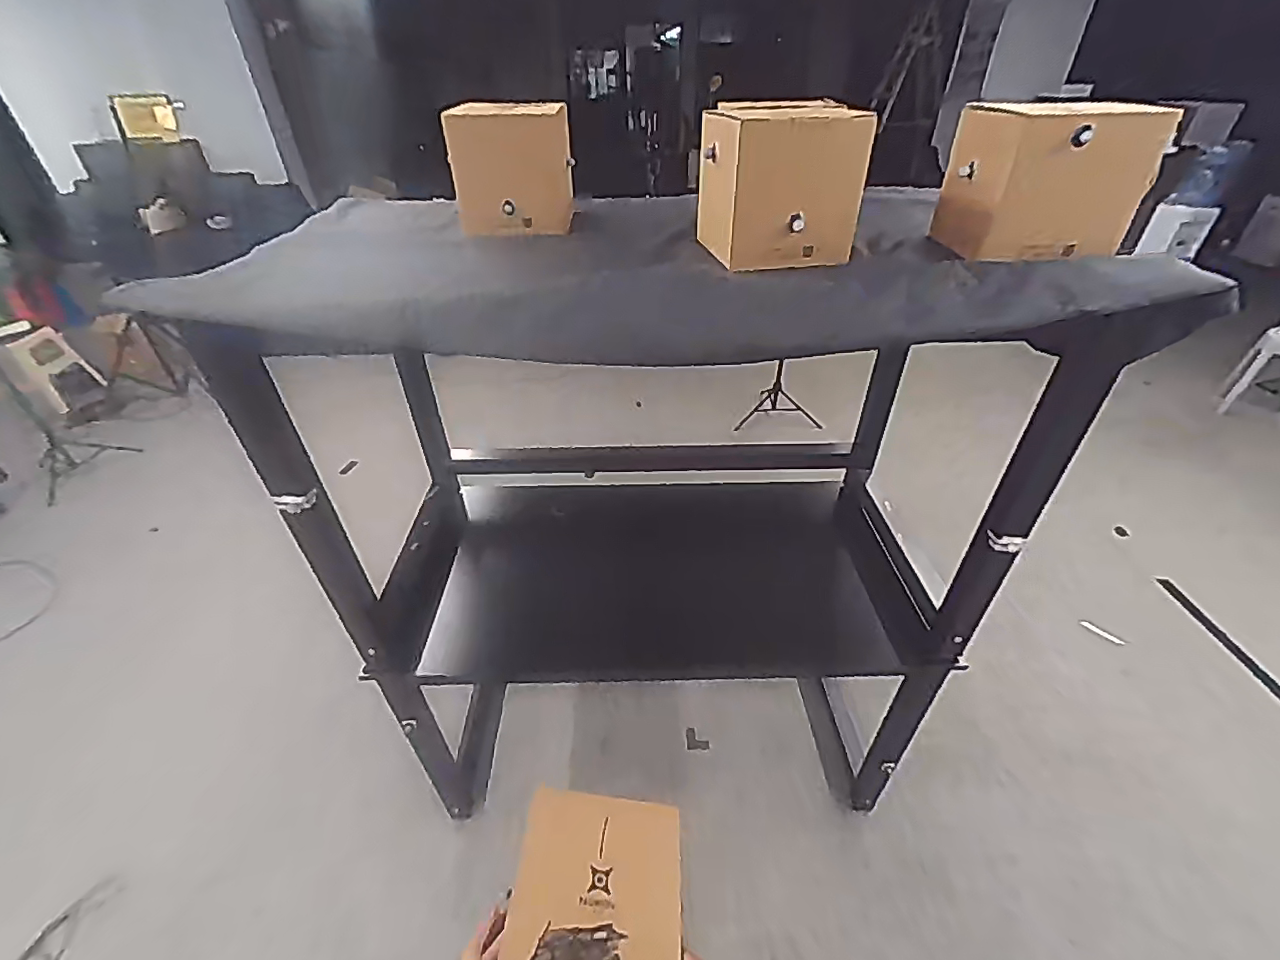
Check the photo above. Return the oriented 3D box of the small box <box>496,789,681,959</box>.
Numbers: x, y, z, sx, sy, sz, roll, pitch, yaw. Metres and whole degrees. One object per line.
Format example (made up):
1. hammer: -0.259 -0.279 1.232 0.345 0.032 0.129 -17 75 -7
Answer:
1. small box: -0.055 0.460 0.563 0.168 0.176 0.179 11 35 -4

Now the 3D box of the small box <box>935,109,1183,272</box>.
1. small box: 0.520 -0.383 0.709 0.168 0.176 0.179 0 36 3

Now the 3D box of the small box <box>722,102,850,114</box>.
1. small box: 0.223 -0.521 0.900 0.179 0.176 0.168 0 36 1

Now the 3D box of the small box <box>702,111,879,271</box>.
1. small box: 0.184 -0.390 0.727 0.168 0.176 0.179 -6 38 -7
